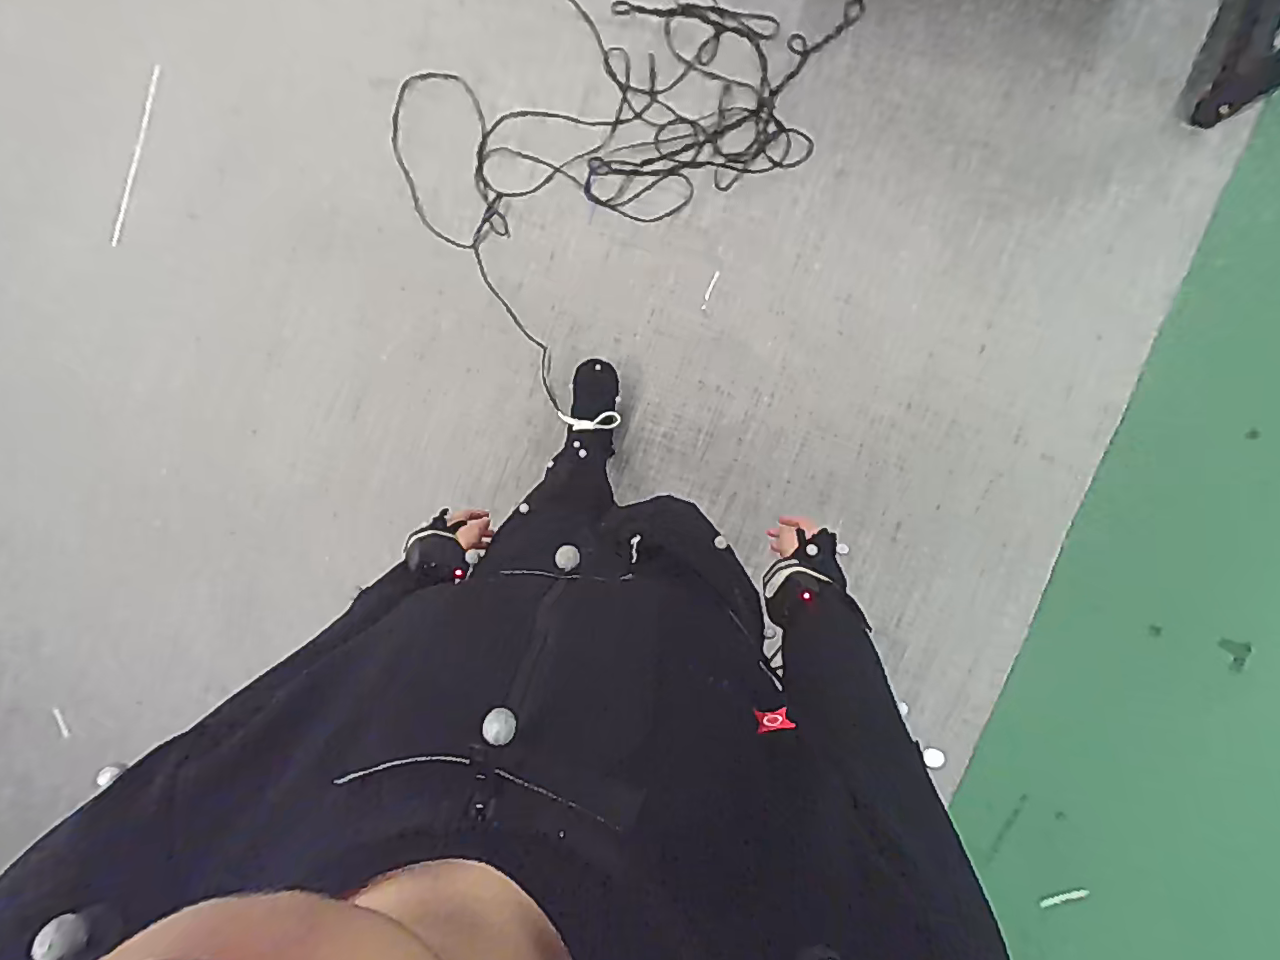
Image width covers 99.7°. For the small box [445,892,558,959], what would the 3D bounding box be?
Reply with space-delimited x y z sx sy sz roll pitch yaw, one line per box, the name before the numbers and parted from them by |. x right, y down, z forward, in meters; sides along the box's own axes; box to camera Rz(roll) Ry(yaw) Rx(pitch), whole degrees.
small box | -0.248 0.826 0.870 0.168 0.176 0.179 24 97 5
